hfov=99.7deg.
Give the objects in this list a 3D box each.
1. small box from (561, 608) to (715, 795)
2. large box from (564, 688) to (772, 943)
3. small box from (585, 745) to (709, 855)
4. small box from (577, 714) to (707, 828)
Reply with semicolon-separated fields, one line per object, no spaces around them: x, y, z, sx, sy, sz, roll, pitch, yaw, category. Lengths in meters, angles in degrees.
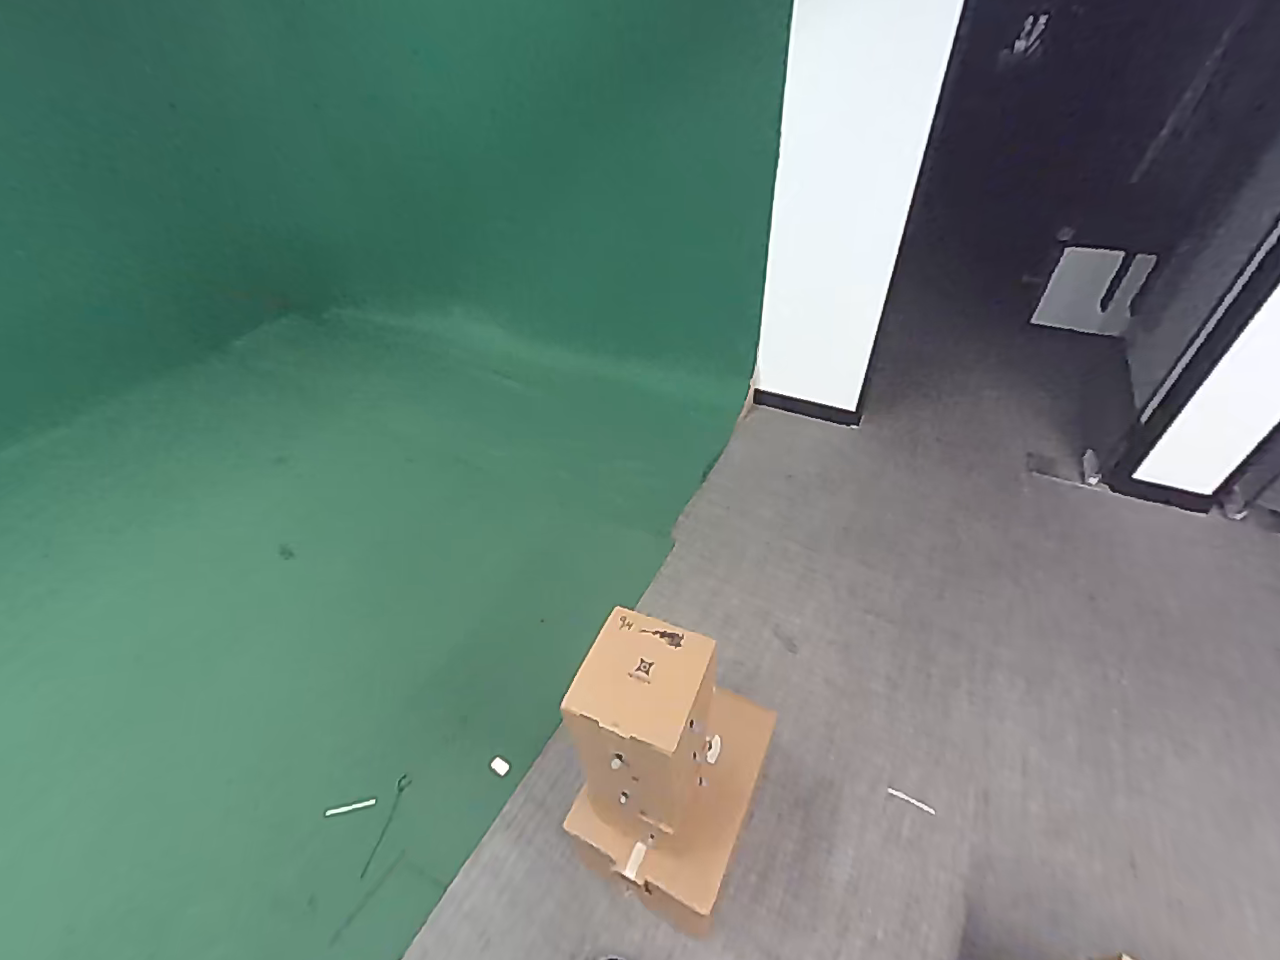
0.007;0.330;0.805;0.168;0.176;0.179;15;46;20;small box
0.080;0.715;1.227;0.320;0.320;0.408;18;46;22;large box
0.019;0.575;1.025;0.179;0.176;0.168;16;46;22;small box
0.014;0.450;0.918;0.168;0.176;0.179;14;45;18;small box
